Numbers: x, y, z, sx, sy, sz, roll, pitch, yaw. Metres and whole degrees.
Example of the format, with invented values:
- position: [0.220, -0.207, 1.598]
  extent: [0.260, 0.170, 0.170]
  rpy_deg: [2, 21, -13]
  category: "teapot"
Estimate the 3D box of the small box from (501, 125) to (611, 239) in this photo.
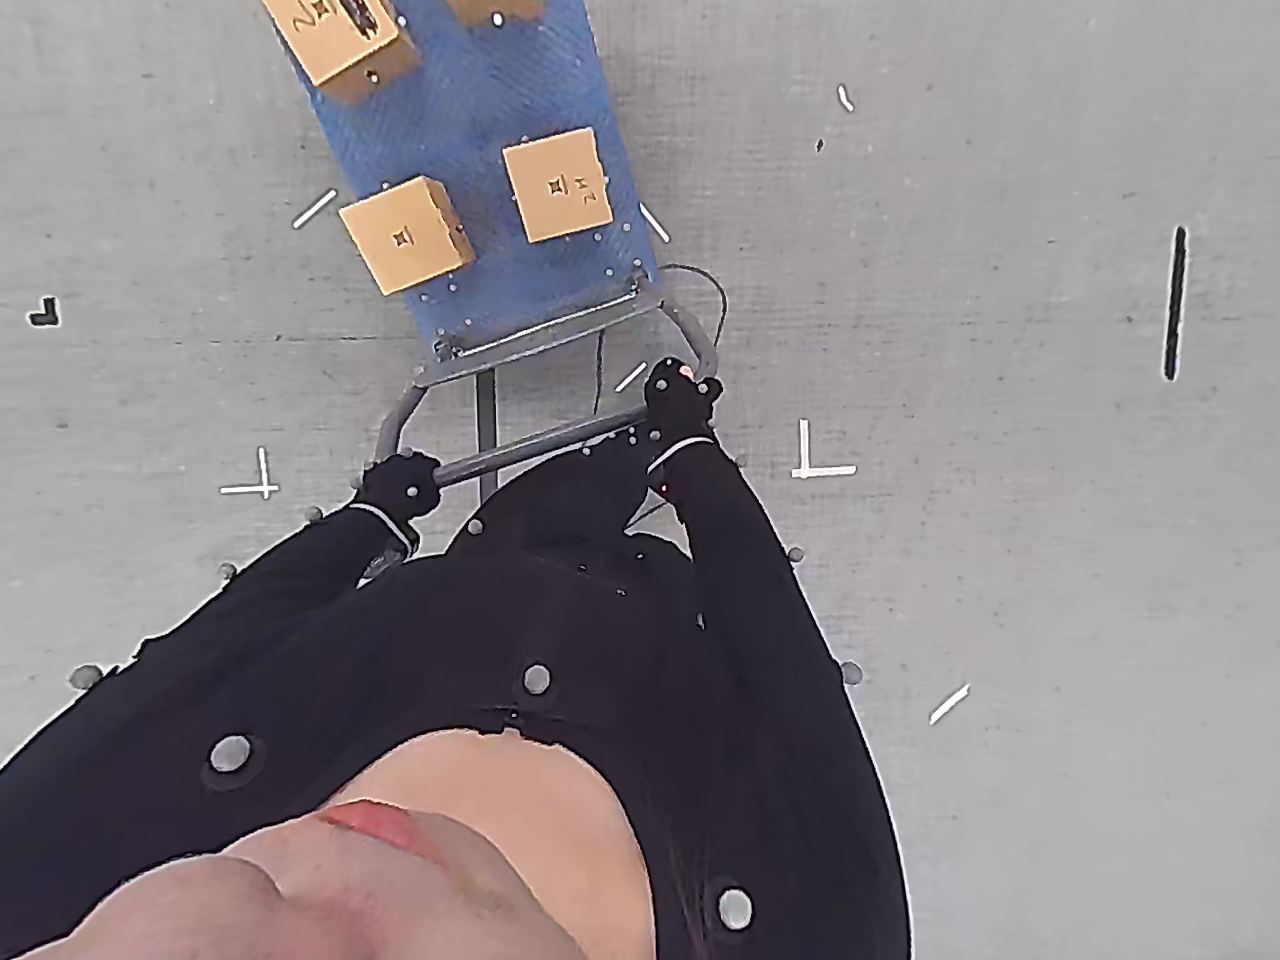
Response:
- position: [-0.164, -0.595, 1.102]
  extent: [0.179, 0.176, 0.168]
  rpy_deg: [-15, 115, -1]
  category: "small box"

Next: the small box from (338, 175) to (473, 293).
- position: [-0.467, -0.498, 1.109]
  extent: [0.179, 0.176, 0.168]
  rpy_deg: [-22, 115, 1]
  category: "small box"

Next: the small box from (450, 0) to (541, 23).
- position: [-0.270, -0.937, 0.936]
  extent: [0.168, 0.176, 0.179]
  rpy_deg: [-9, 116, -3]
  category: "small box"
